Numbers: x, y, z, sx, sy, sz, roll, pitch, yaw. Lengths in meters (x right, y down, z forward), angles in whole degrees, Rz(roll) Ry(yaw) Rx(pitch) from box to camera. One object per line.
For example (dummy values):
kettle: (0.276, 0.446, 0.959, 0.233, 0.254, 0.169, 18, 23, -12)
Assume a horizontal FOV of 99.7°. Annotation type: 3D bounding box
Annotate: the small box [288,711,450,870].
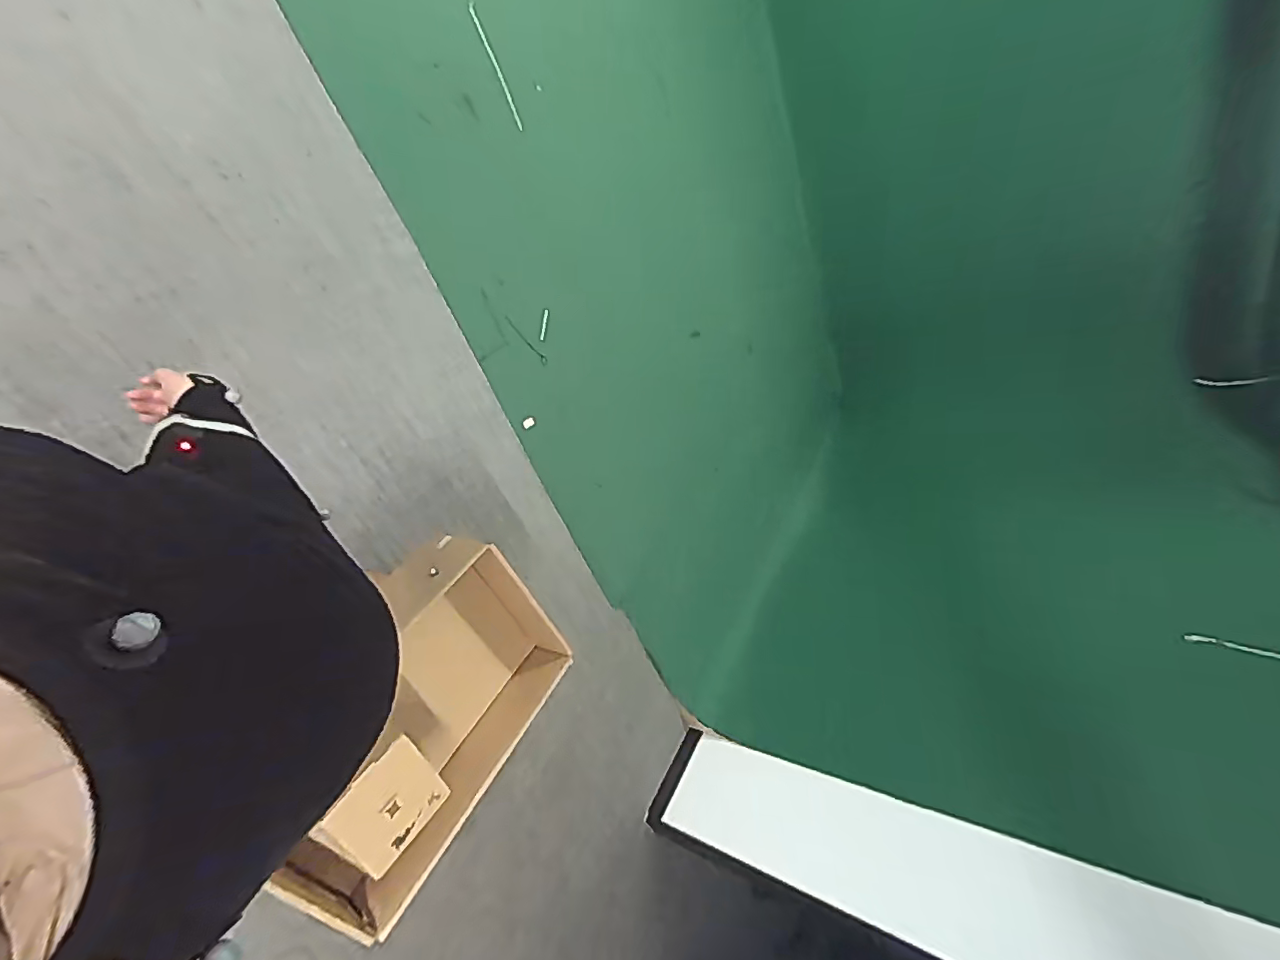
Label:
small box: (-0.491, 0.546, 0.980, 0.168, 0.176, 0.179, -45, 124, -40)
